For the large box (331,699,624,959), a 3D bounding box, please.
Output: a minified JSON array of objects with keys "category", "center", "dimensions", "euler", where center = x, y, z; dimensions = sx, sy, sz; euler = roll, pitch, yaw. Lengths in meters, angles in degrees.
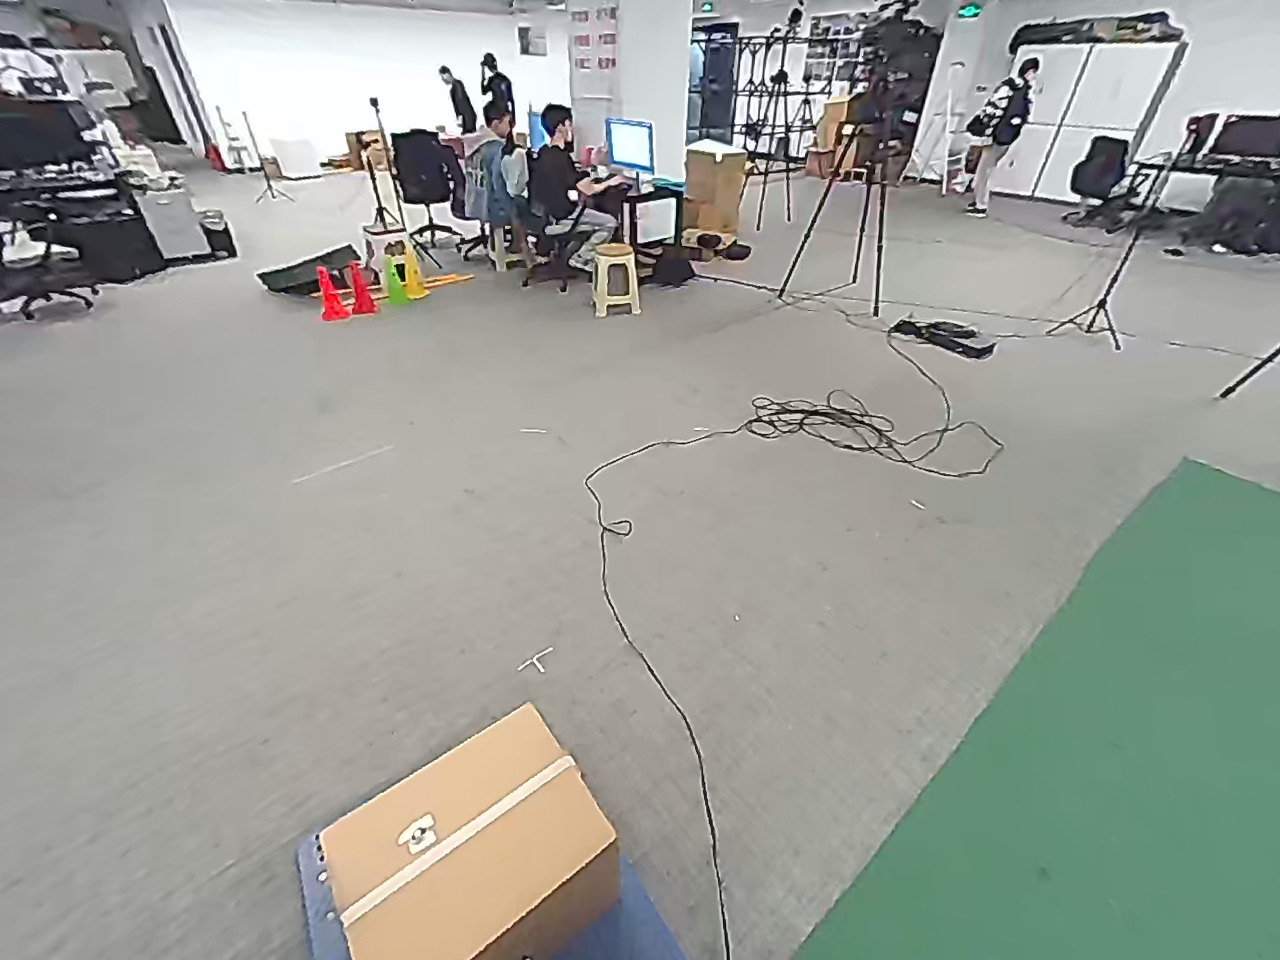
[{"category":"large box","center":[-0.277,0.711,1.008],"dimensions":[0.408,0.320,0.320],"euler":[-25,43,-29]}]
